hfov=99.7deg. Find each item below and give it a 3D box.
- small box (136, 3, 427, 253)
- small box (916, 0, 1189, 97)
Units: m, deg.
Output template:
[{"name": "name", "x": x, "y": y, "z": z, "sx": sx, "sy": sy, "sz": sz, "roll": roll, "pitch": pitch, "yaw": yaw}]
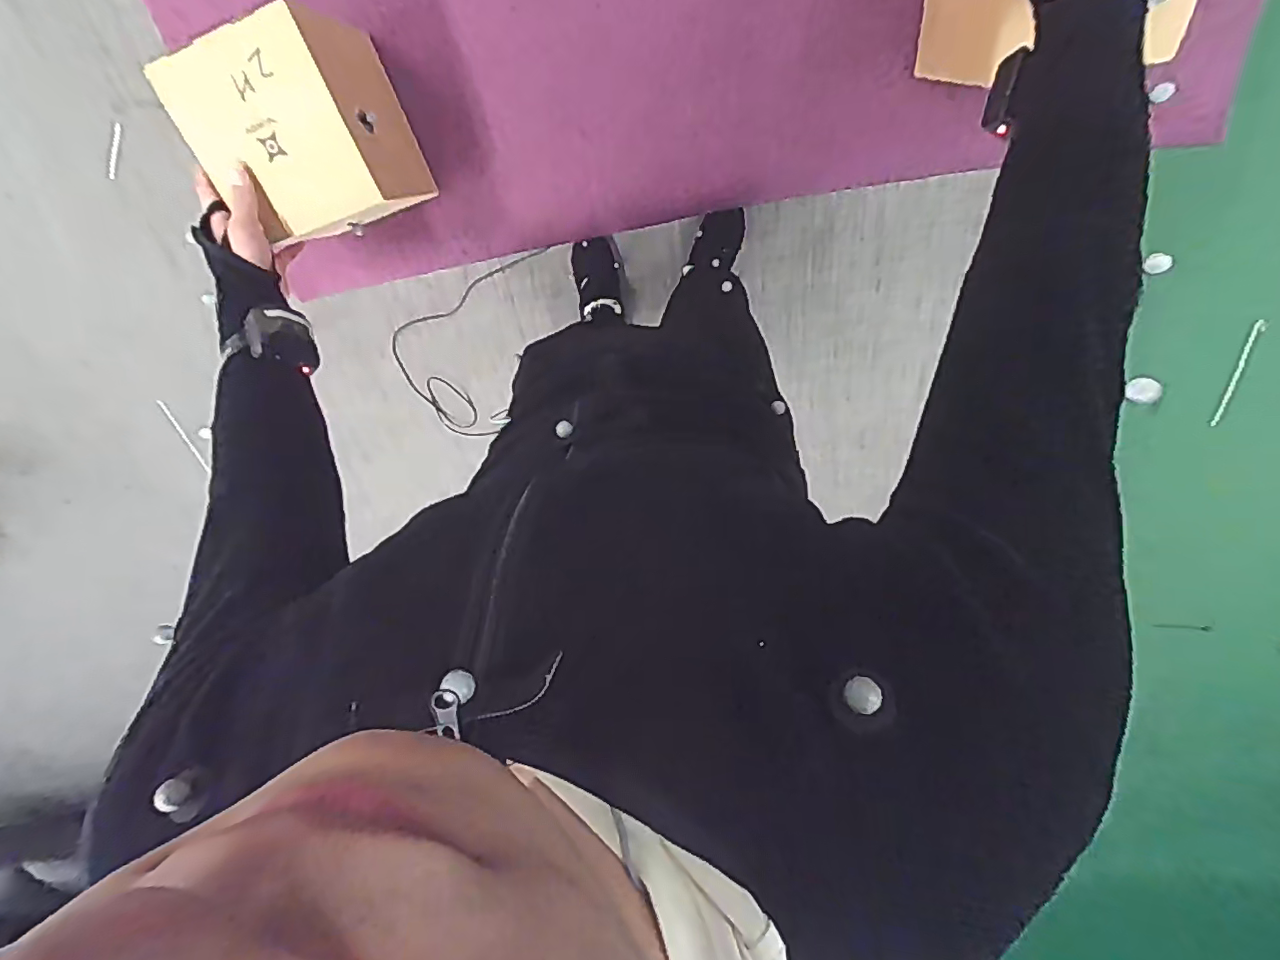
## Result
[{"name": "small box", "x": -0.370, "y": -0.377, "z": 0.602, "sx": 0.168, "sy": 0.176, "sz": 0.179, "roll": -15, "pitch": 119, "yaw": 9}, {"name": "small box", "x": 0.382, "y": -0.482, "z": 0.506, "sx": 0.168, "sy": 0.176, "sz": 0.179, "roll": -6, "pitch": 128, "yaw": 5}]
